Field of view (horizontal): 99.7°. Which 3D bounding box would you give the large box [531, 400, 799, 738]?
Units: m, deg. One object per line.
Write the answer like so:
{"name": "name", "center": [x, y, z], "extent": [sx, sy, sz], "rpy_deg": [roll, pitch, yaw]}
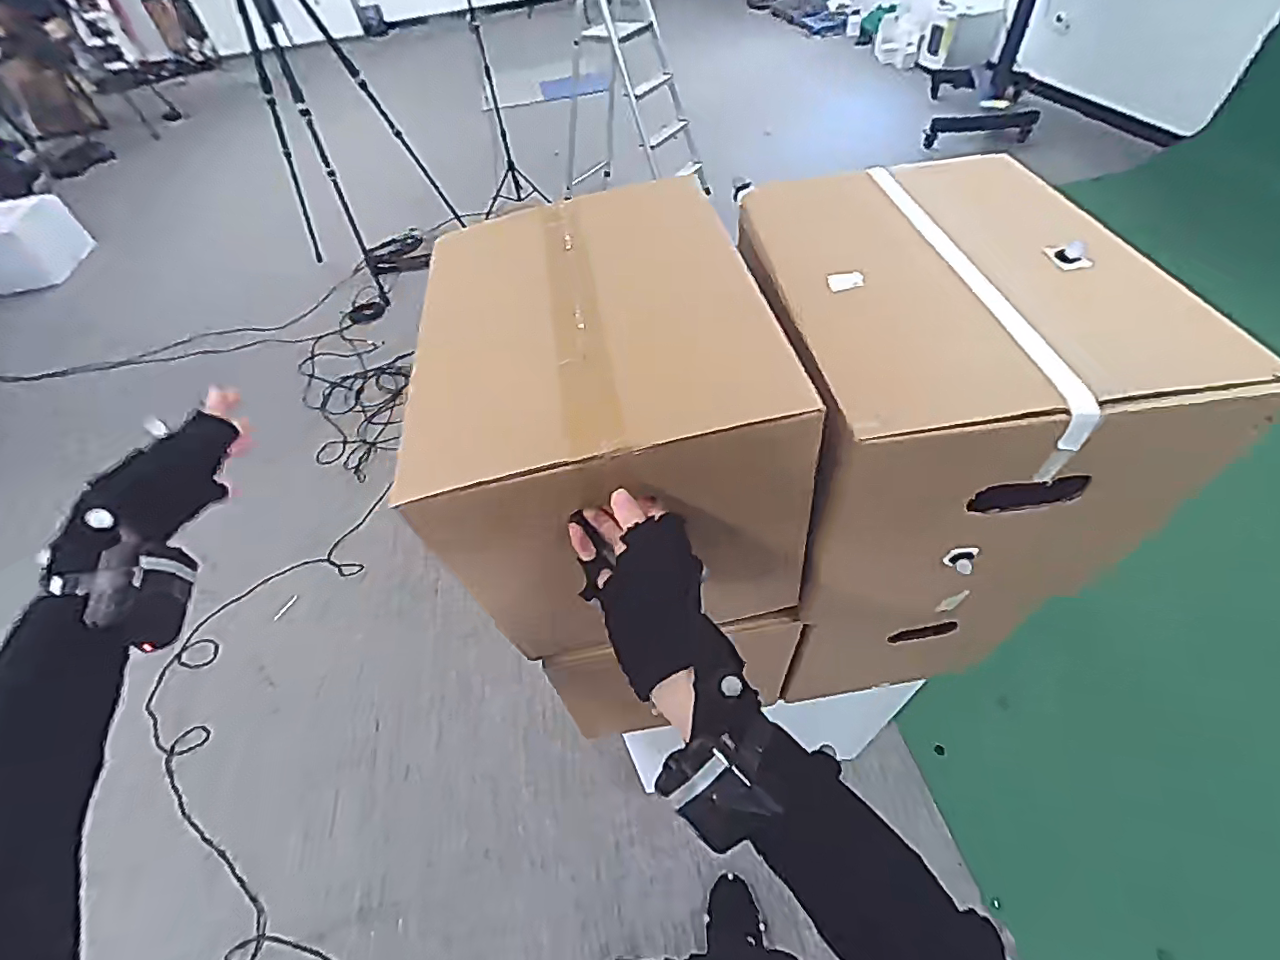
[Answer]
{"name": "large box", "center": [0.019, 0.136, 0.869], "extent": [0.320, 0.320, 0.408], "rpy_deg": [-9, 48, -4]}
